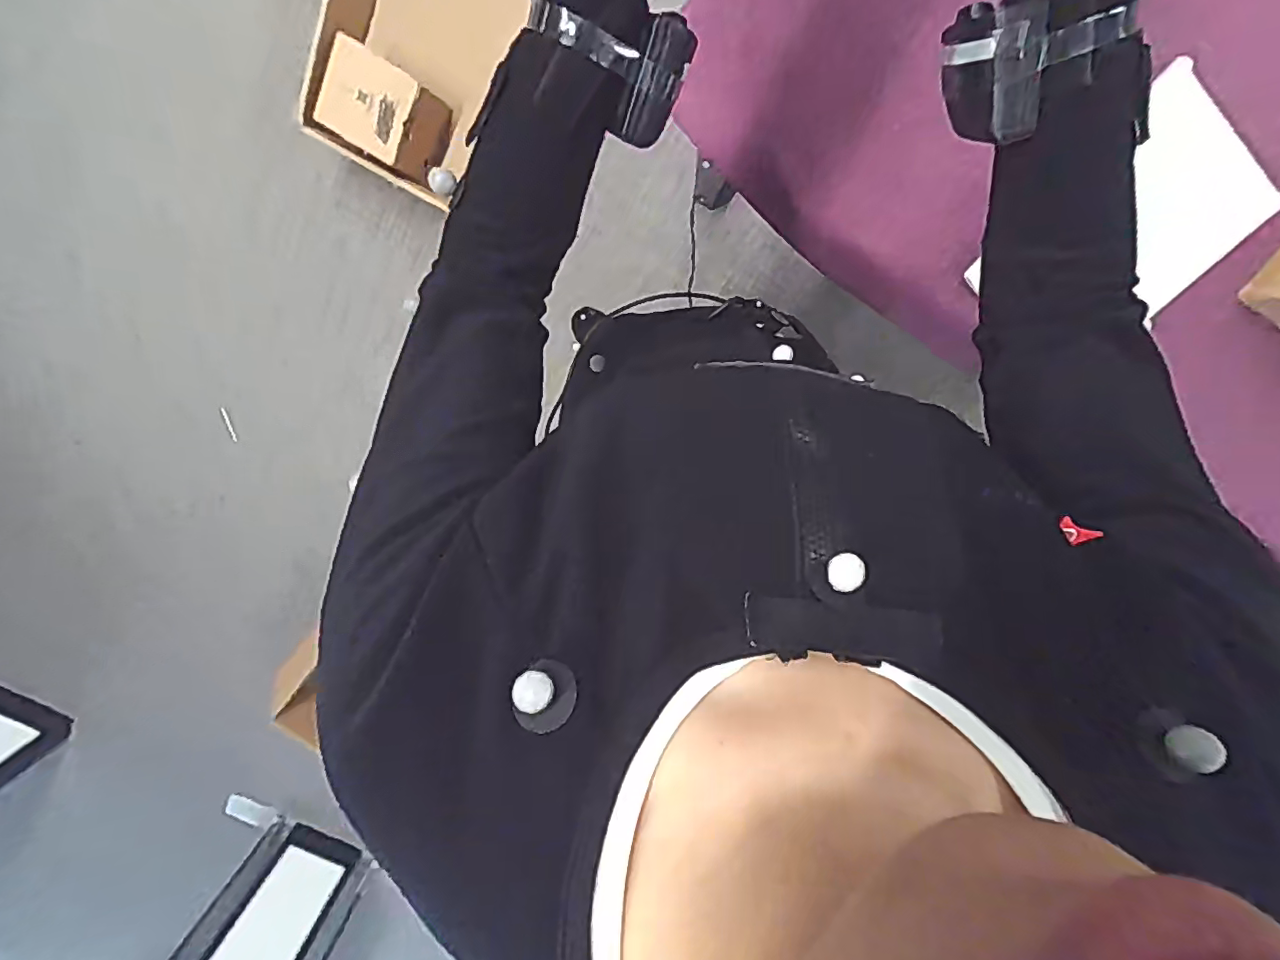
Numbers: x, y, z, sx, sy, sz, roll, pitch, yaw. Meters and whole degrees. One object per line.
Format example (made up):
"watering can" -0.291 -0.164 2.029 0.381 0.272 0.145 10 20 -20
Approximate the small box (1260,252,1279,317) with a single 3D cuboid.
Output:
"small box" 0.783 -0.211 0.519 0.168 0.176 0.179 29 109 -6
